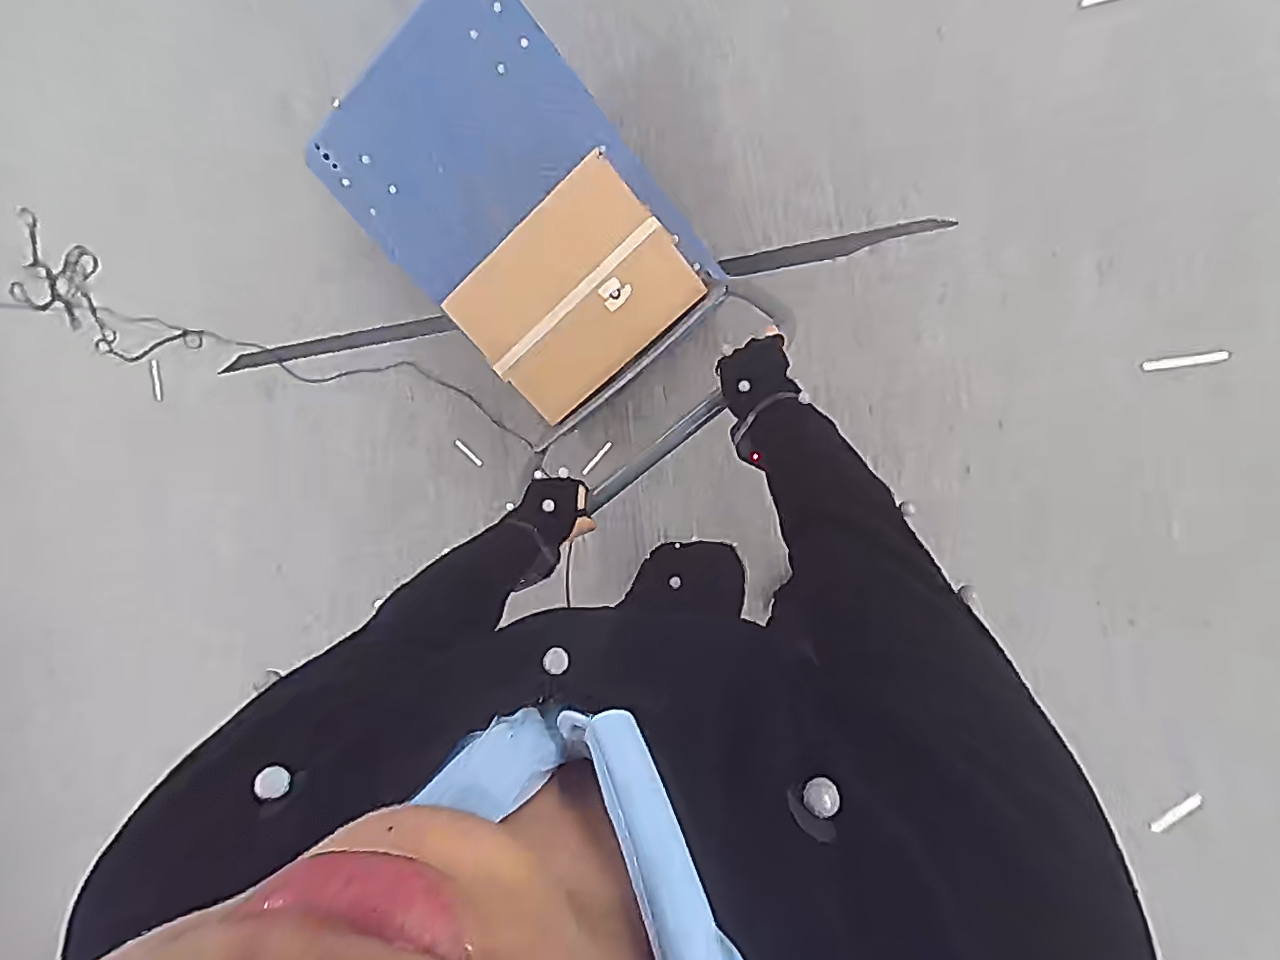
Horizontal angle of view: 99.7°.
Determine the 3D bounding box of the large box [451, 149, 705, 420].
[{"bbox_3d":[-0.120,-0.397,1.170,0.408,0.320,0.320,-40,104,12],"label":"large box"}]
